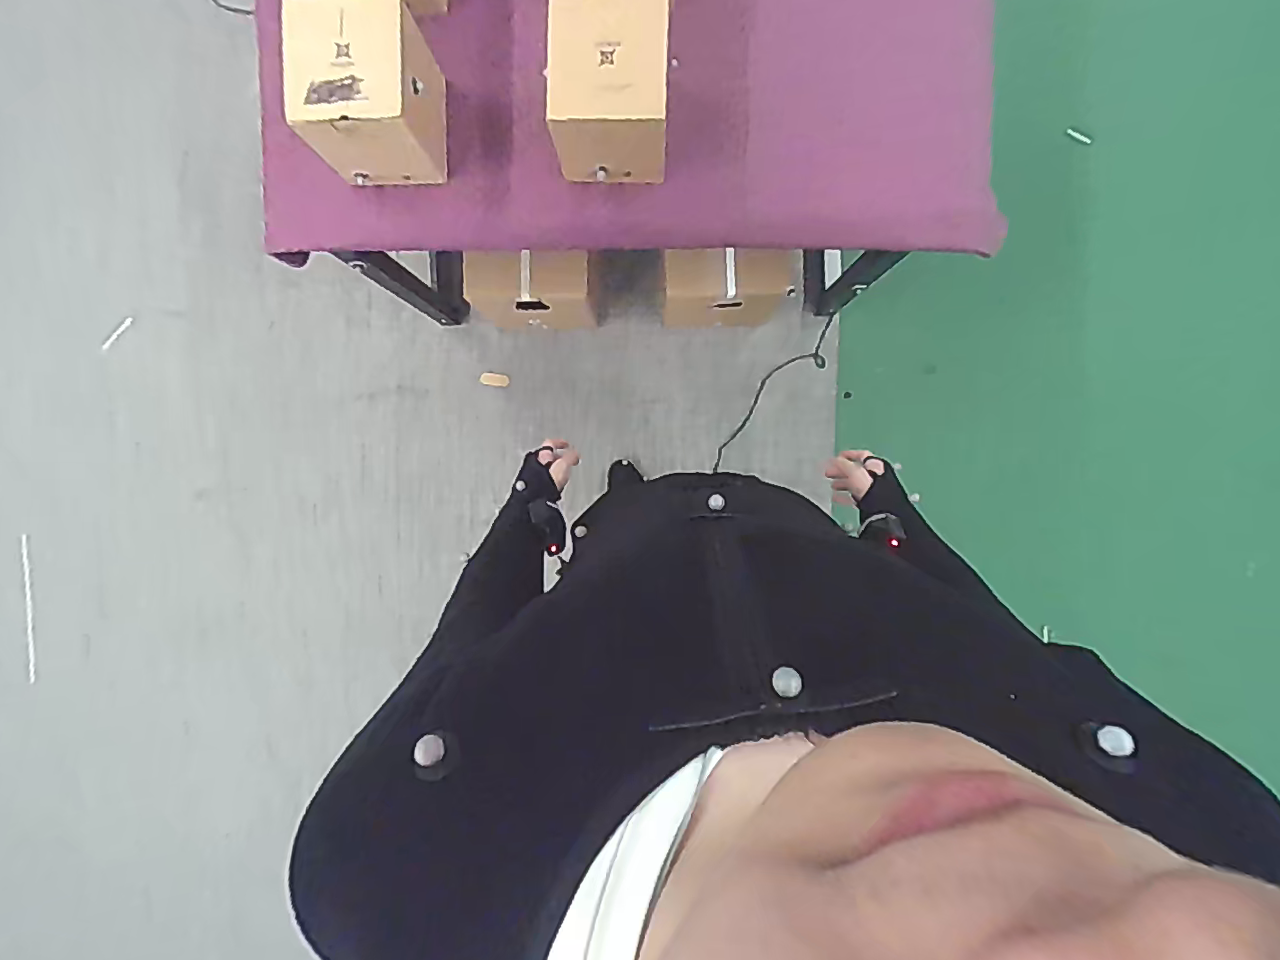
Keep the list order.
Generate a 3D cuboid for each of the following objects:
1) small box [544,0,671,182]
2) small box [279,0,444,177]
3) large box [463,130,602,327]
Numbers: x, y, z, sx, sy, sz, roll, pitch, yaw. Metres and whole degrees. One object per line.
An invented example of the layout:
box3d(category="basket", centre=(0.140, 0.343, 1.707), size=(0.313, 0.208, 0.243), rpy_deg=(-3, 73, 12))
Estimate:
box3d(category="small box", centre=(-0.042, -0.577, 0.804), size=(0.168, 0.176, 0.179), rpy_deg=(2, 92, 2))
box3d(category="small box", centre=(-0.404, -0.581, 0.812), size=(0.168, 0.176, 0.179), rpy_deg=(0, 90, 1))
box3d(category="large box", centre=(-0.274, -0.656, 1.470), size=(0.320, 0.320, 0.408), rpy_deg=(0, 91, 1))
